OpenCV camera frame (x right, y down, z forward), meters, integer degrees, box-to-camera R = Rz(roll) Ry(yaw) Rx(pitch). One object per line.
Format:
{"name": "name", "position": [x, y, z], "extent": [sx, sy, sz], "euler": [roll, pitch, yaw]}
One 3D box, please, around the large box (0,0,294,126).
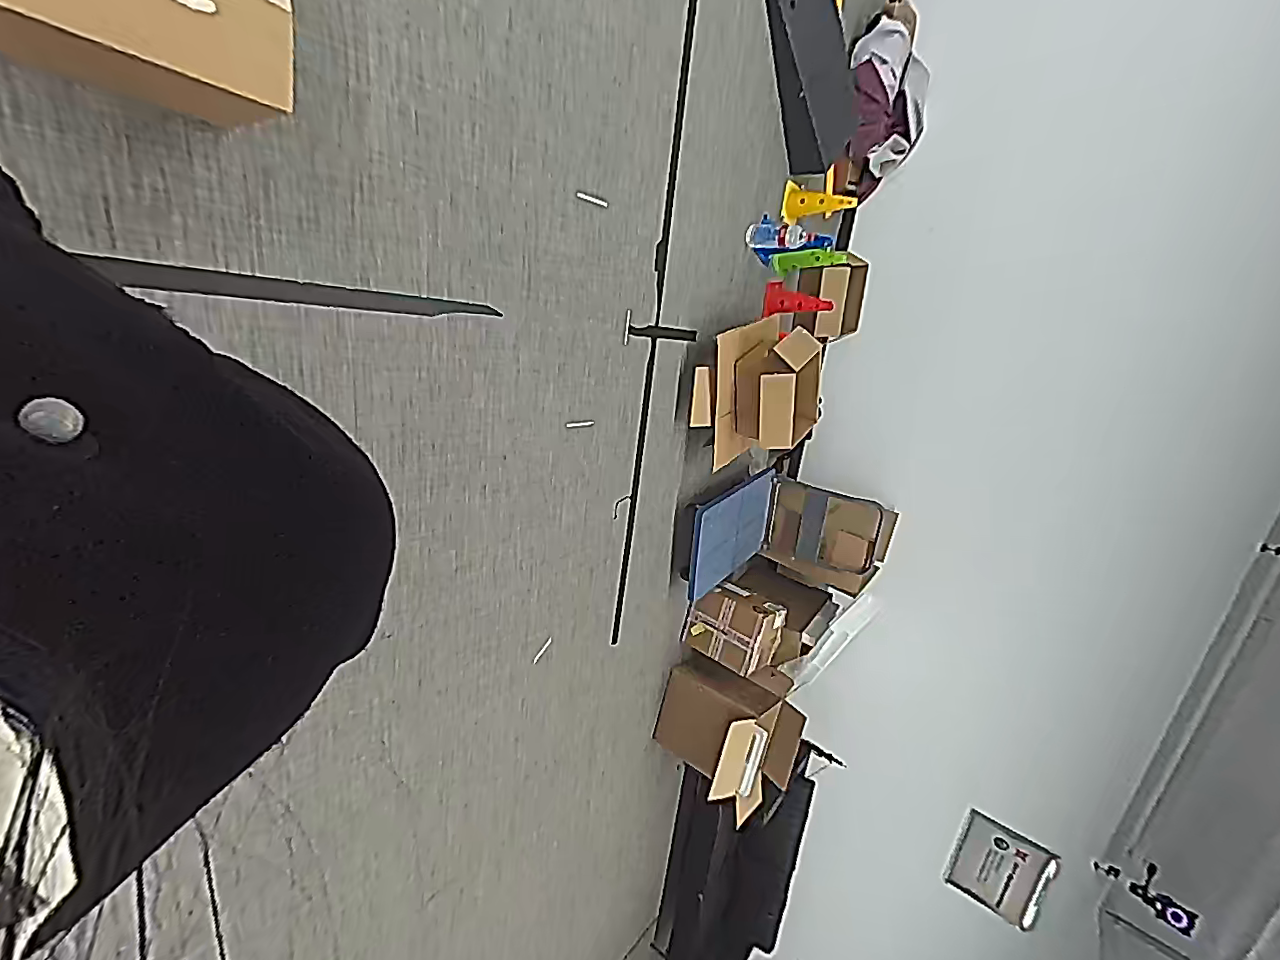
{"name": "large box", "position": [-0.812, -0.791, 0.814], "extent": [0.408, 0.320, 0.320], "euler": [-12, 116, -53]}
